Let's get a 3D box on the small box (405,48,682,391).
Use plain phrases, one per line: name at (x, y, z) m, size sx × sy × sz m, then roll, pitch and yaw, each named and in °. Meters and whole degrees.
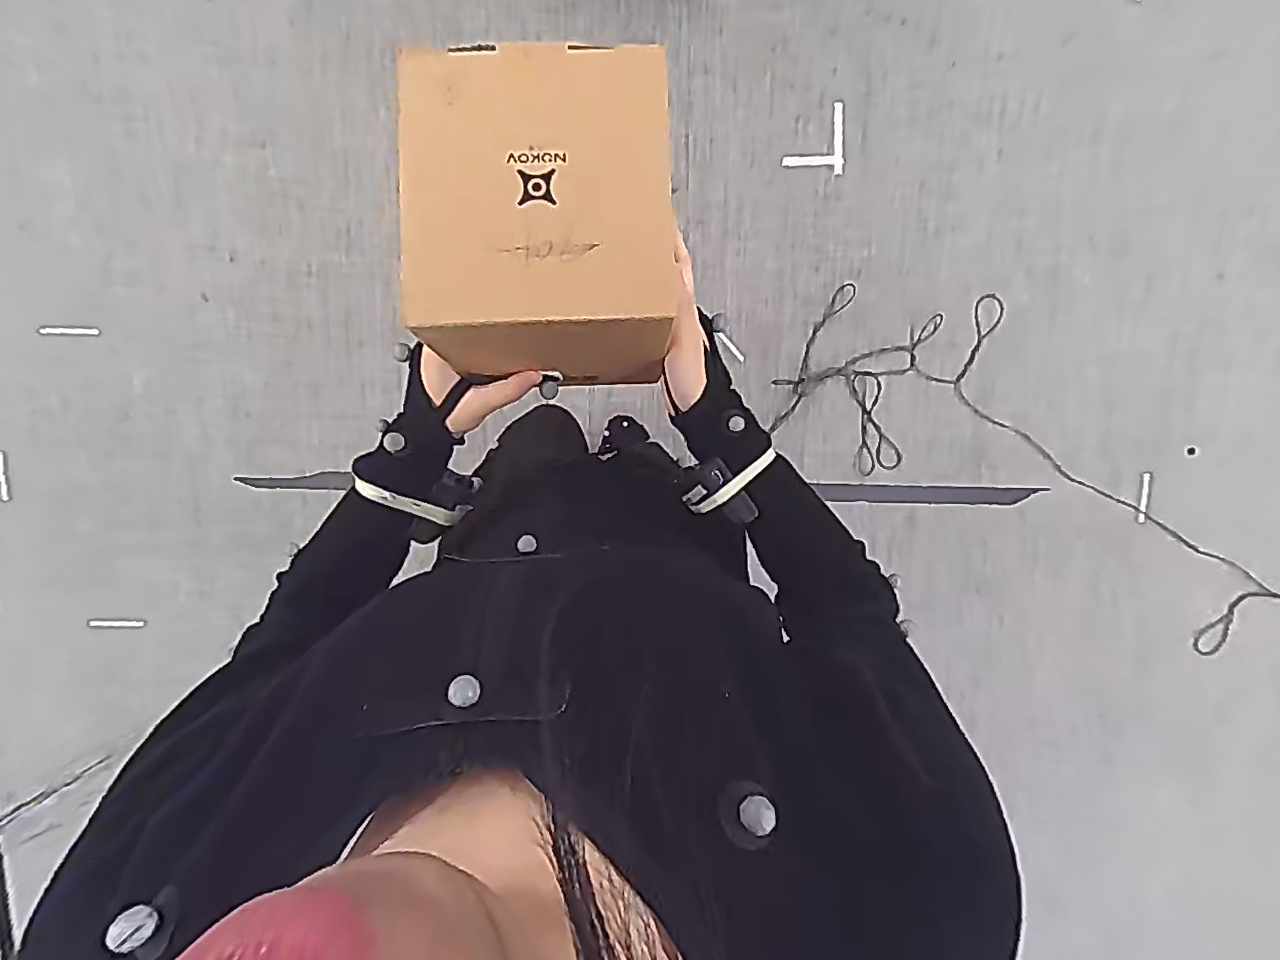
small box at (-0.062, -0.174, 0.406) m, size 0.168 × 0.176 × 0.179 m, roll -3°, pitch 87°, yaw -2°
